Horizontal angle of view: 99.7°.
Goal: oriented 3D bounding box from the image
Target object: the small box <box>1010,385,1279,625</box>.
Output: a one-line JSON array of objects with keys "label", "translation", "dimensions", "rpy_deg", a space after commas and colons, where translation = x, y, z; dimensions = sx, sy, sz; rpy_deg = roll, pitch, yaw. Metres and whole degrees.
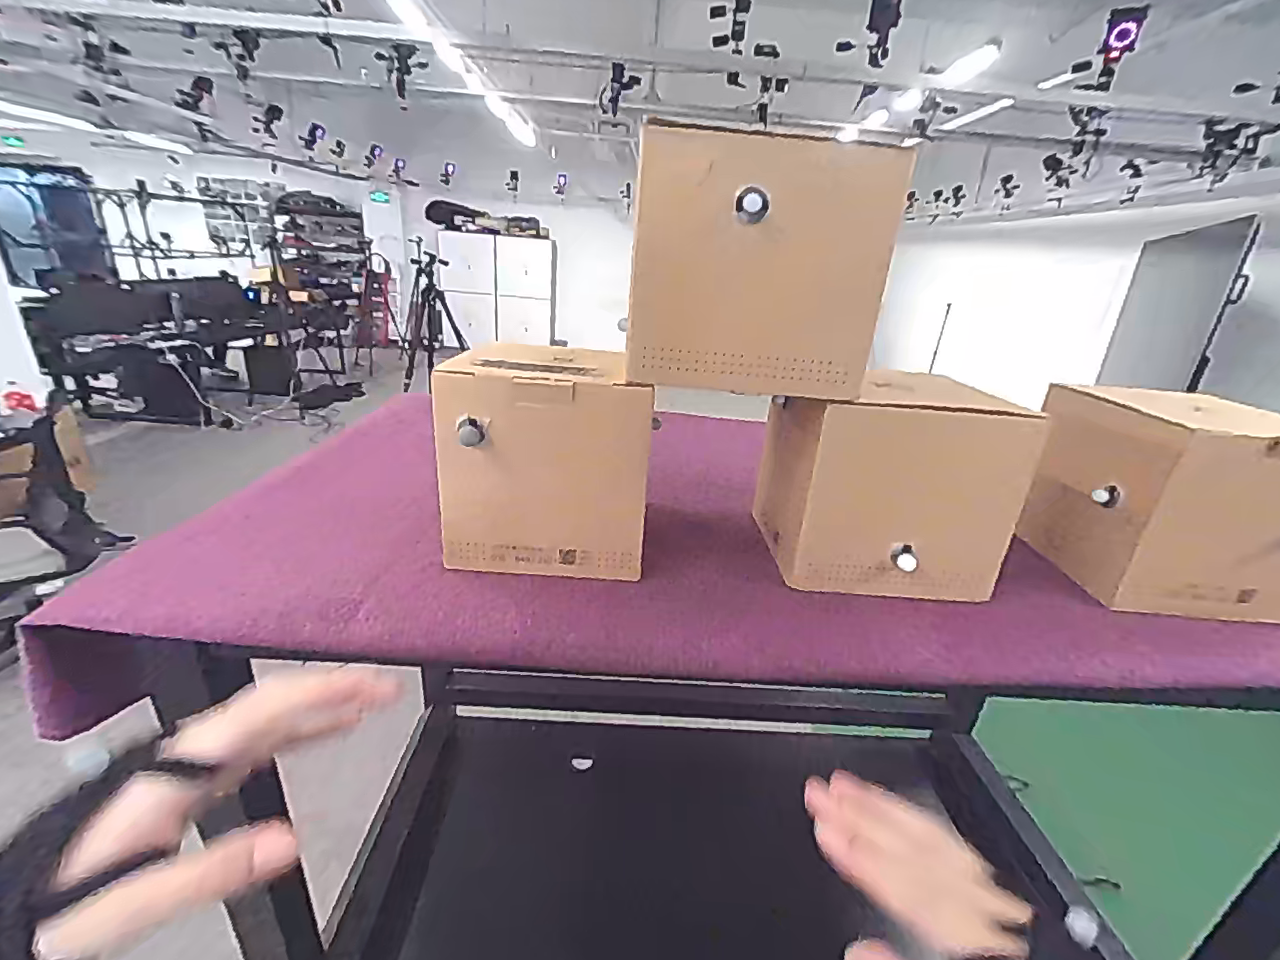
[{"label": "small box", "translation": [0.498, 0.016, 0.510], "dimensions": [0.168, 0.176, 0.179], "rpy_deg": [6, 22, 2]}]

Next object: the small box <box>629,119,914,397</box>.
[{"label": "small box", "translation": [0.085, -0.167, 0.440], "dimensions": [0.179, 0.176, 0.168], "rpy_deg": [5, 21, 0]}]
